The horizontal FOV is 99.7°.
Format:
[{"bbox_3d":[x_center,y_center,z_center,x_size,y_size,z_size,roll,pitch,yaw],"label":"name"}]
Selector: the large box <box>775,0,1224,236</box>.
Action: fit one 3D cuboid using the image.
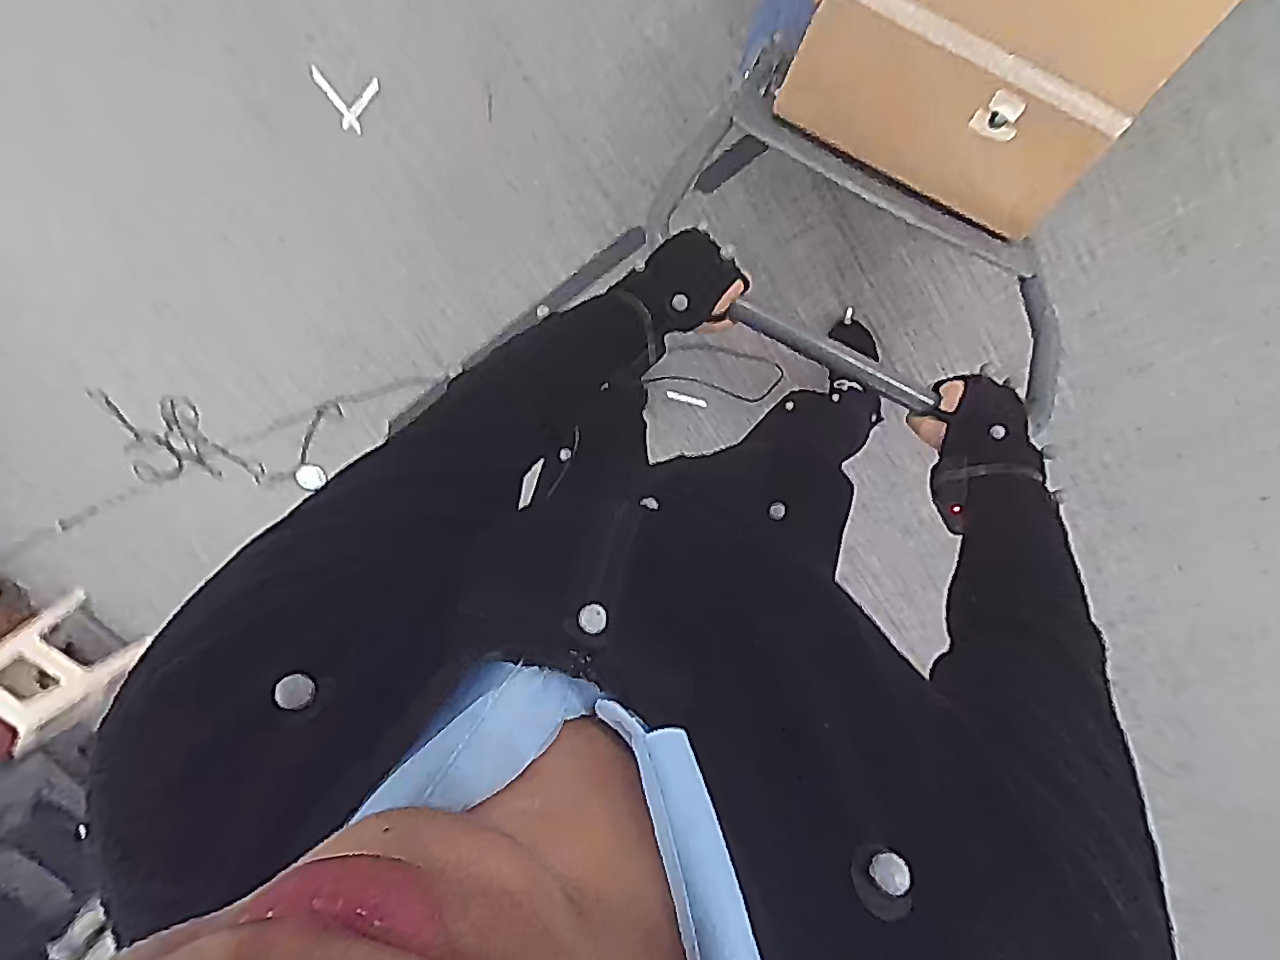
[{"bbox_3d":[0.458,-0.630,0.774,0.408,0.320,0.320,26,138,-2],"label":"large box"}]
